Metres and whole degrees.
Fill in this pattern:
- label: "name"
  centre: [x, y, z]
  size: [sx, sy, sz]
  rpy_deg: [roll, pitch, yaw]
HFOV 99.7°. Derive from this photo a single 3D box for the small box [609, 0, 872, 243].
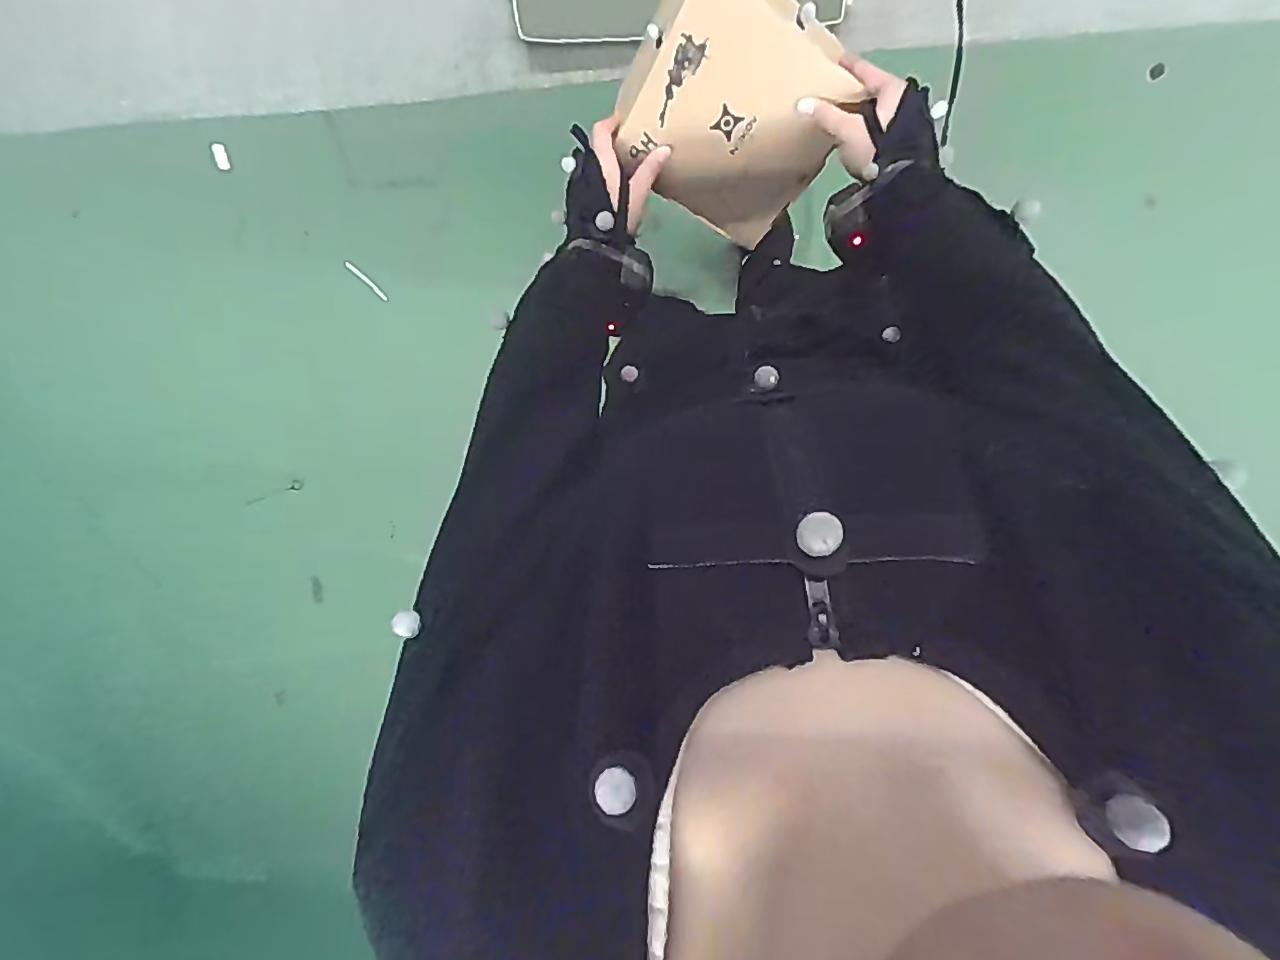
- label: "small box"
  centre: [0.087, -0.381, 0.529]
  size: [0.179, 0.176, 0.168]
  rpy_deg: [22, 137, -23]
